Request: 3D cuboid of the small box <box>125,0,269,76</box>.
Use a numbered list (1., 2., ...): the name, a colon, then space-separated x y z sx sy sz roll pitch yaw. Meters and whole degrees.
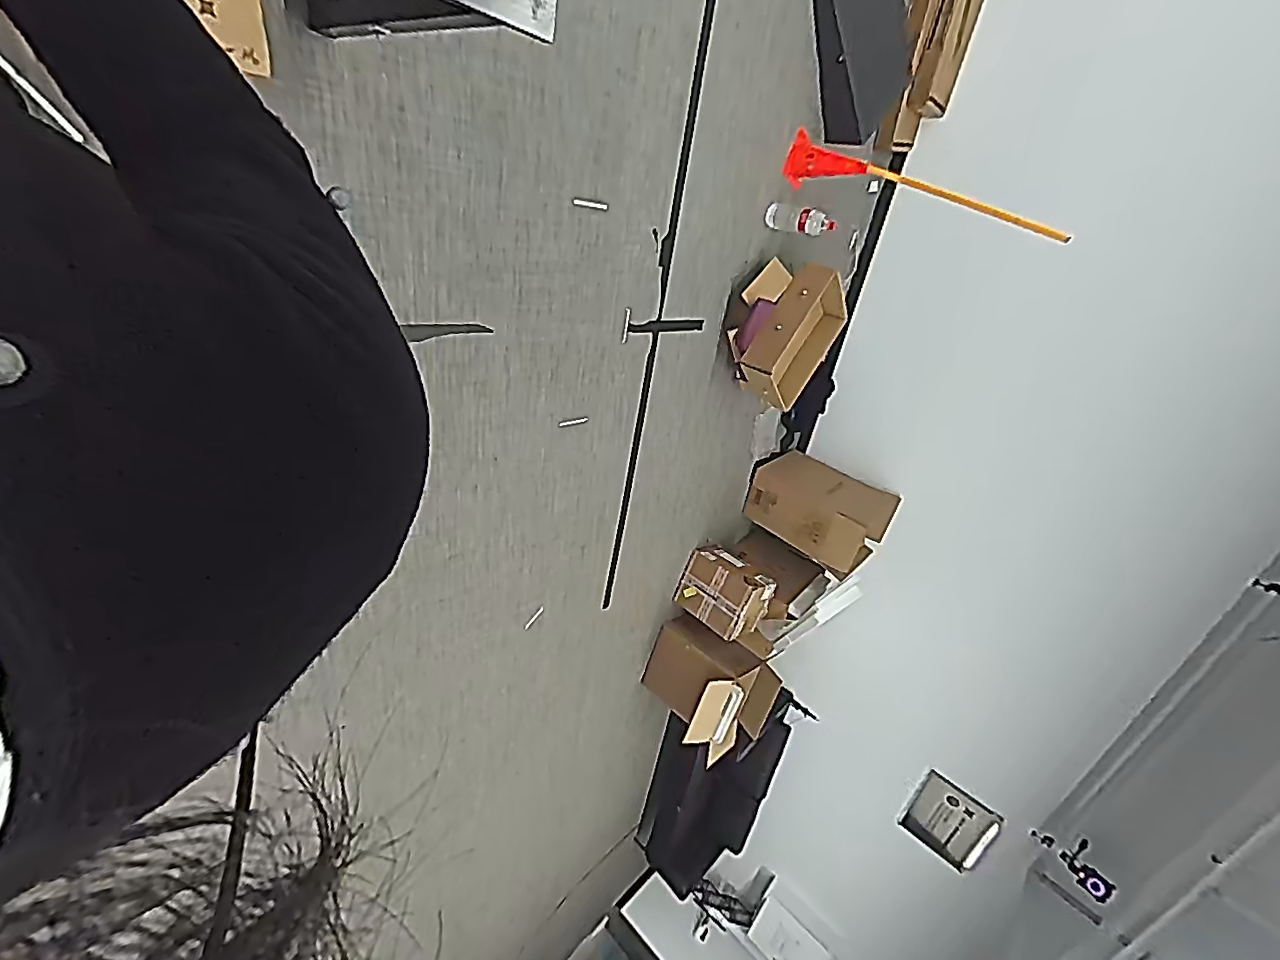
1. small box: -0.775 -0.827 0.936 0.168 0.176 0.179 -19 129 -44
